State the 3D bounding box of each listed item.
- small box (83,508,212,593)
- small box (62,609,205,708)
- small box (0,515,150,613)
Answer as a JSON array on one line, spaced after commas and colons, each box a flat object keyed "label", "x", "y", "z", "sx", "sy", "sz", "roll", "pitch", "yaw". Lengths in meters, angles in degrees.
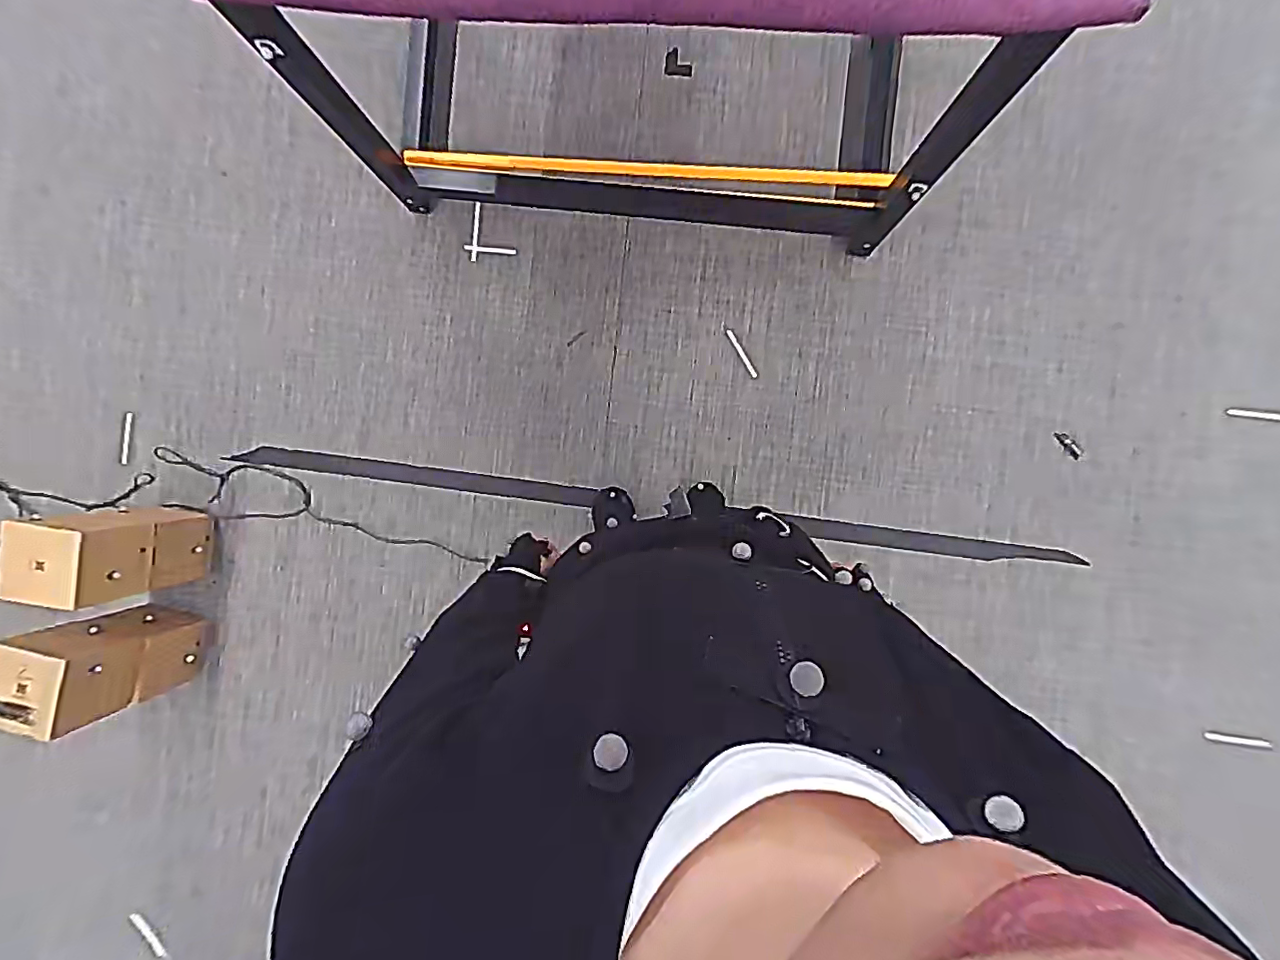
[{"label": "small box", "x": -1.208, "y": 0.165, "z": 1.324, "sx": 0.179, "sy": 0.176, "sz": 0.168, "roll": 8, "pitch": 93, "yaw": 1}, {"label": "small box", "x": -1.236, "y": 0.429, "z": 1.330, "sx": 0.179, "sy": 0.176, "sz": 0.168, "roll": 14, "pitch": 91, "yaw": 1}, {"label": "small box", "x": -1.214, "y": 0.172, "z": 1.162, "sx": 0.179, "sy": 0.176, "sz": 0.168, "roll": 8, "pitch": 92, "yaw": 2}]
